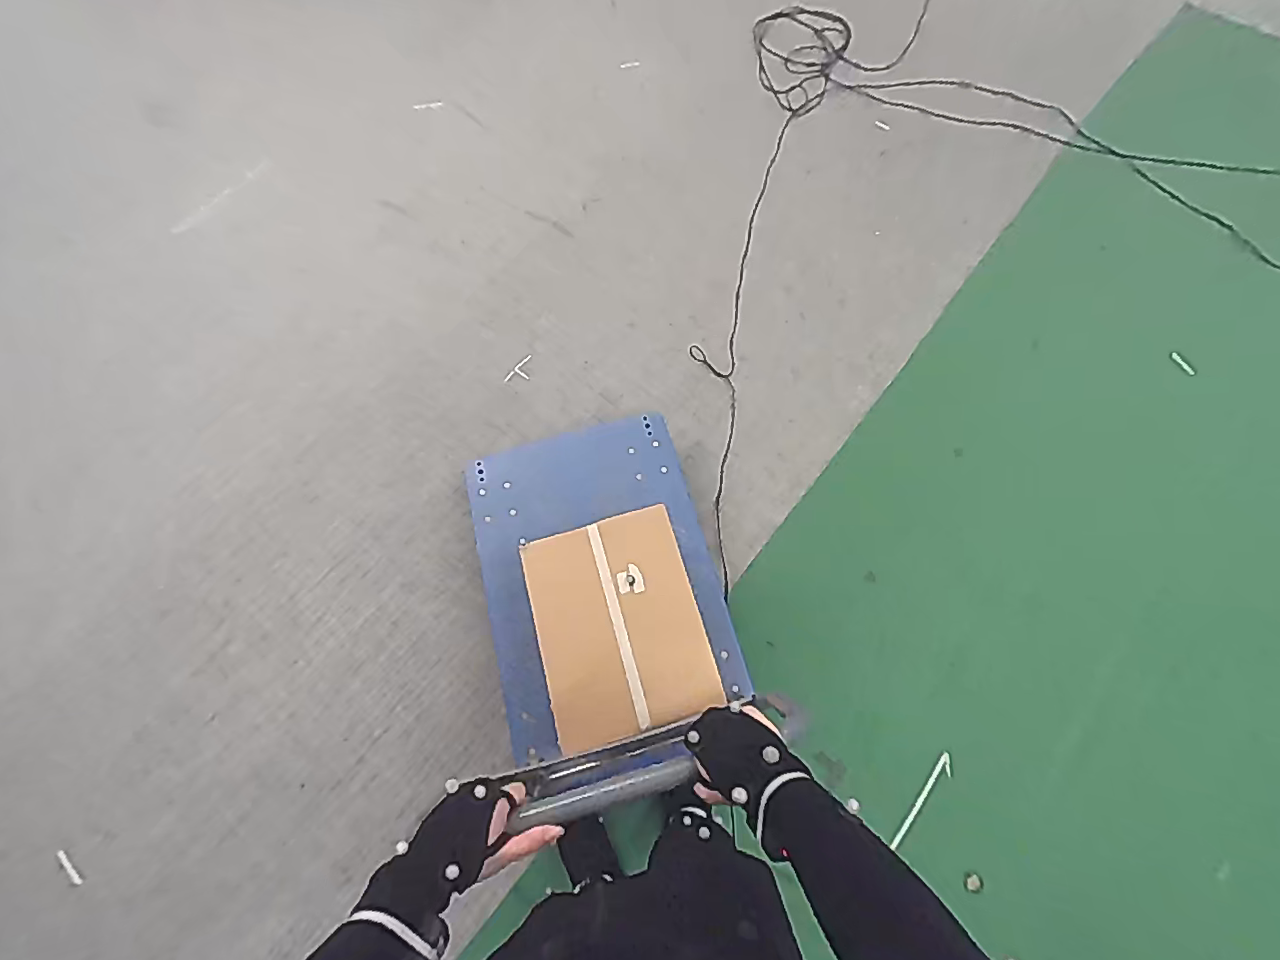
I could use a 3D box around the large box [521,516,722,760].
[{"bbox_3d":[-0.037,0.348,1.195,0.320,0.320,0.408,-16,67,-3],"label":"large box"}]
